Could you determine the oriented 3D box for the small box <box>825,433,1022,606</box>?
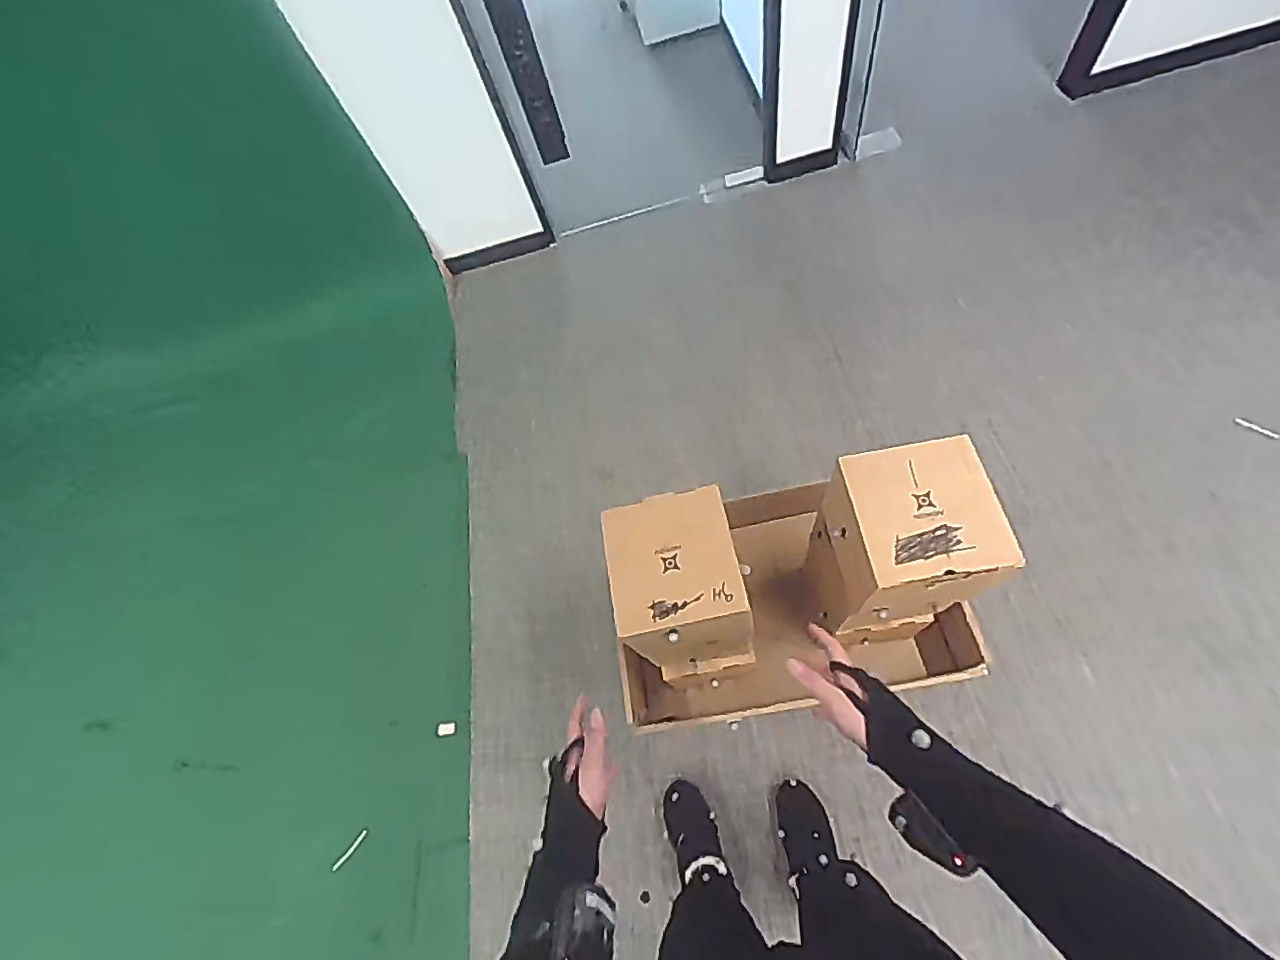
[{"bbox_3d":[0.358,0.064,0.724,0.168,0.176,0.179,-10,63,6],"label":"small box"}]

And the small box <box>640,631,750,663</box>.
[{"bbox_3d":[0.088,0.197,0.904,0.168,0.176,0.179,-10,63,8],"label":"small box"}]

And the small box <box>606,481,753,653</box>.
[{"bbox_3d":[0.058,0.128,0.760,0.168,0.176,0.179,-14,61,6],"label":"small box"}]
